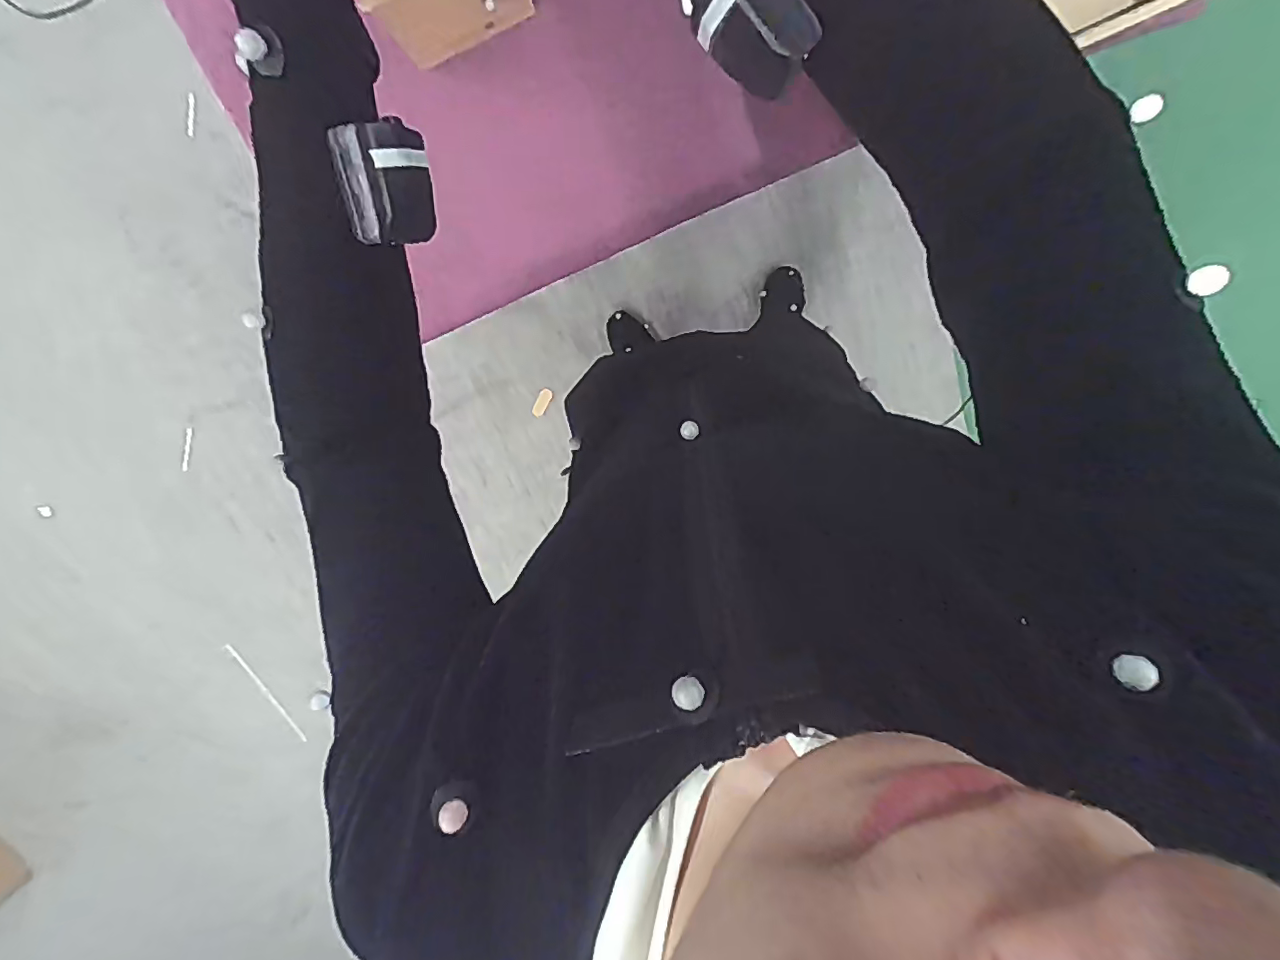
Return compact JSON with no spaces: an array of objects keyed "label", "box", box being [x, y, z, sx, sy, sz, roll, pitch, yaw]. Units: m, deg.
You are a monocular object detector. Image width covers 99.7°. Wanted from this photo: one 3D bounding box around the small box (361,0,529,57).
[{"label":"small box","box":[-0.238,-0.608,0.592,0.168,0.176,0.179,-22,109,6]}]
